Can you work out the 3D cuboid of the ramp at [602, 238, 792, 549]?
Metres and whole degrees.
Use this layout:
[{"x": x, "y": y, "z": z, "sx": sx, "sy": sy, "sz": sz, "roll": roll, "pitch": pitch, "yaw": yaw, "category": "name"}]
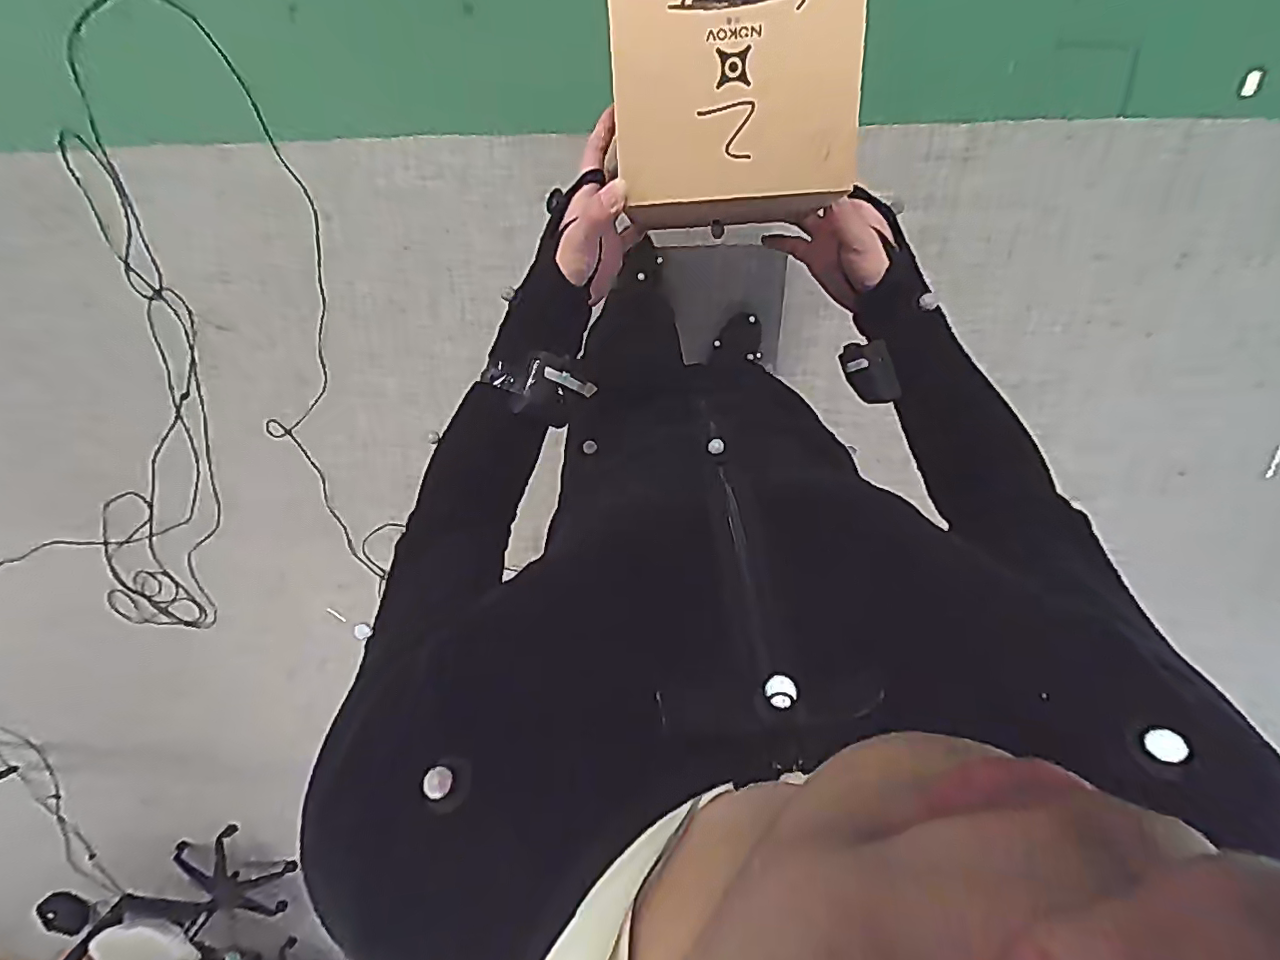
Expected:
[{"x": 0.164, "y": -0.191, "z": 1.644, "sx": 0.509, "sy": 0.206, "sz": 0.991, "roll": -1, "pitch": 112, "yaw": 6, "category": "ramp"}]
